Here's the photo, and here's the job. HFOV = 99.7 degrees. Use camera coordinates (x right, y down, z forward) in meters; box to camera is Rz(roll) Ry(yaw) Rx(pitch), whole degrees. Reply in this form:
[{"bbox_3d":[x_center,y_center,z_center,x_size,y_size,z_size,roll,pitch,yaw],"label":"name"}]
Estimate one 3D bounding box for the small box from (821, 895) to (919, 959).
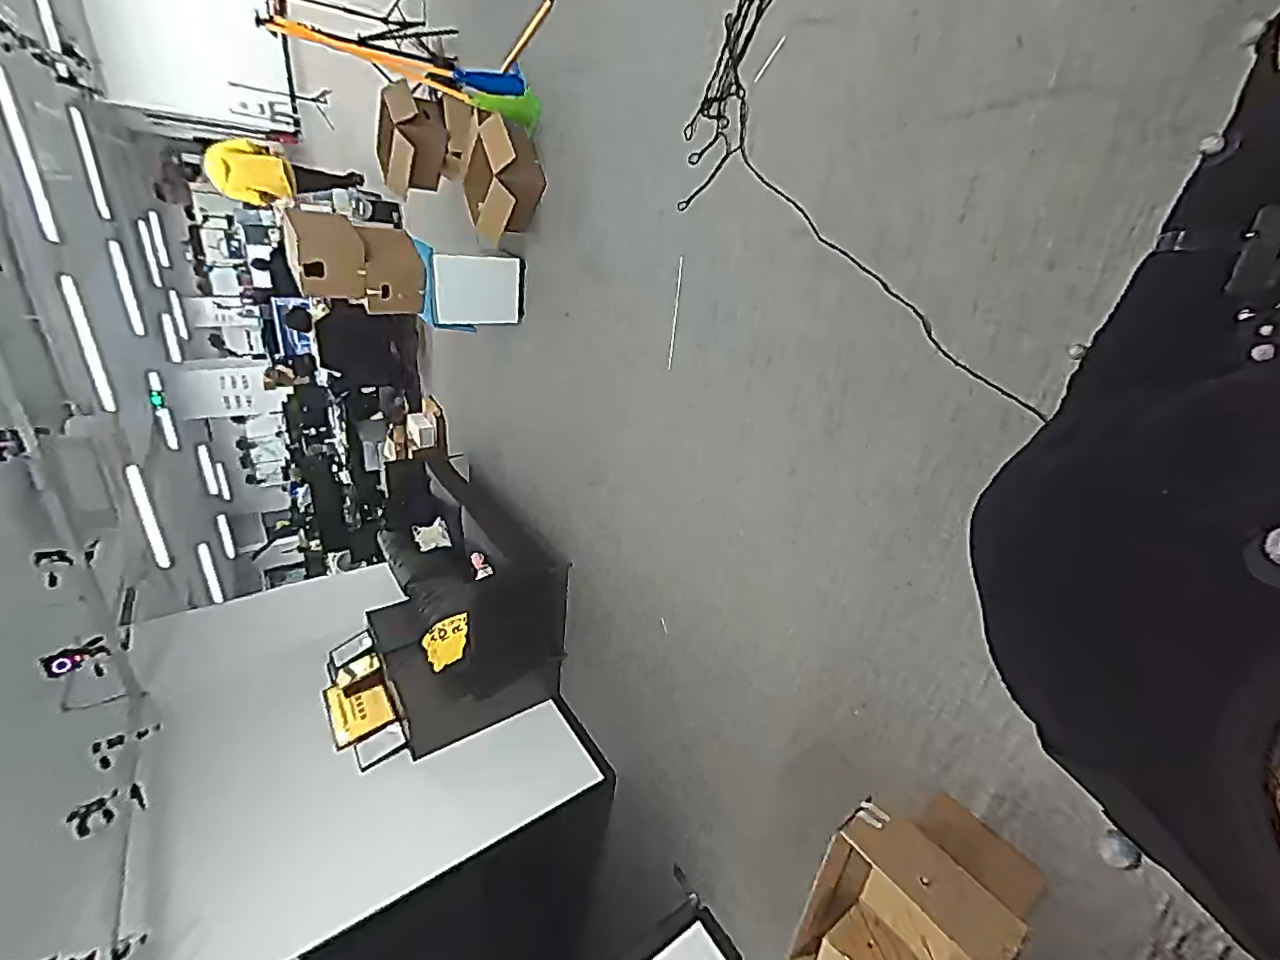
[{"bbox_3d":[0.609,1.266,1.437,0.168,0.176,0.179,29,121,49],"label":"small box"}]
